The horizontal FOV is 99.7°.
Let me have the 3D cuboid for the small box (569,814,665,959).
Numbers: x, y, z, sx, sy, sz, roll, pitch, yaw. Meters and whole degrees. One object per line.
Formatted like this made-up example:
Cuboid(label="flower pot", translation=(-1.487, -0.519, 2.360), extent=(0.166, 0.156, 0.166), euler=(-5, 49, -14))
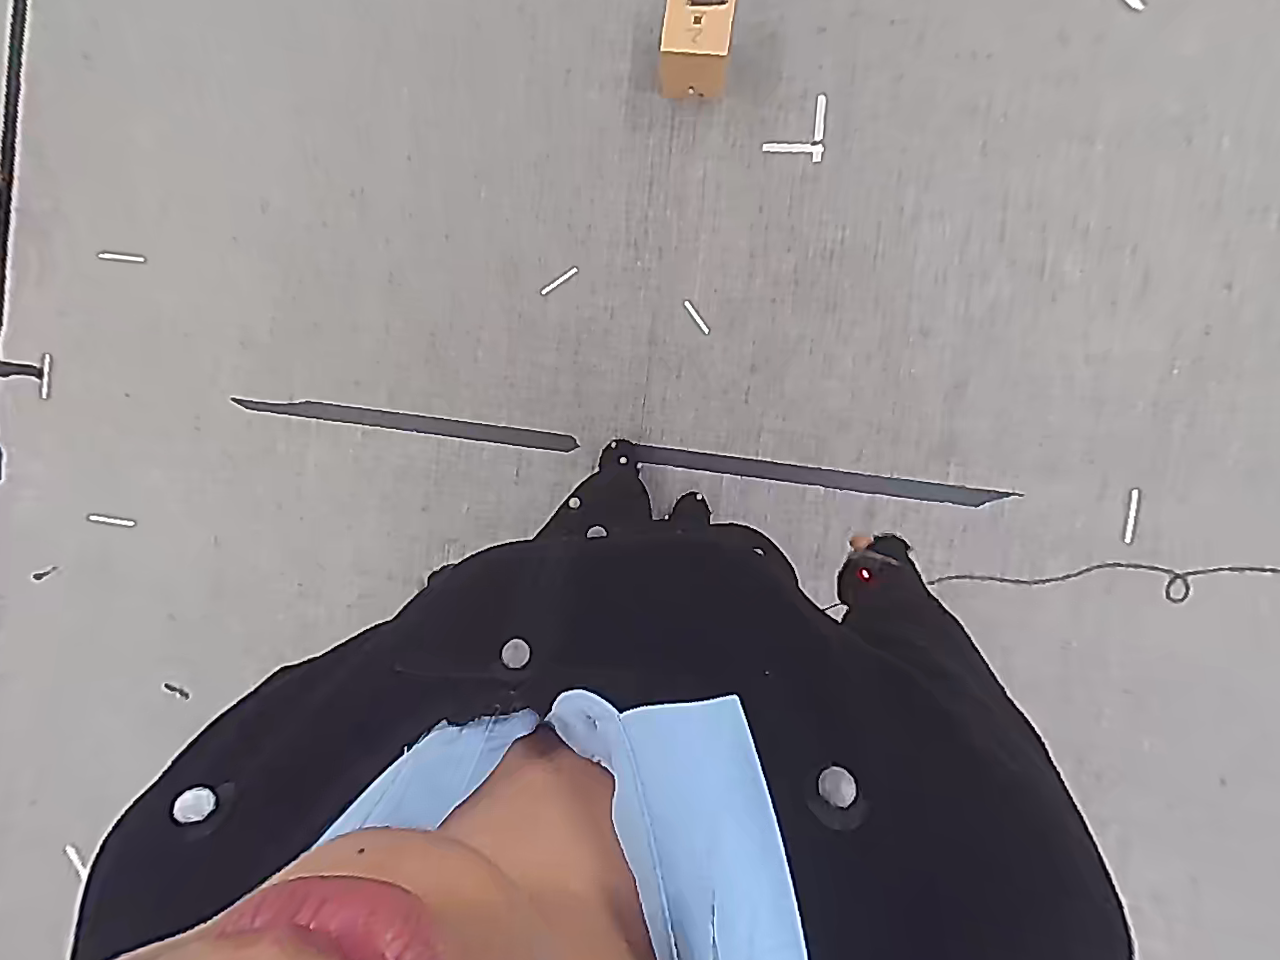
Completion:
Cuboid(label="small box", translation=(-0.039, 0.809, 1.076), extent=(0.168, 0.176, 0.179), euler=(2, 90, 6))
